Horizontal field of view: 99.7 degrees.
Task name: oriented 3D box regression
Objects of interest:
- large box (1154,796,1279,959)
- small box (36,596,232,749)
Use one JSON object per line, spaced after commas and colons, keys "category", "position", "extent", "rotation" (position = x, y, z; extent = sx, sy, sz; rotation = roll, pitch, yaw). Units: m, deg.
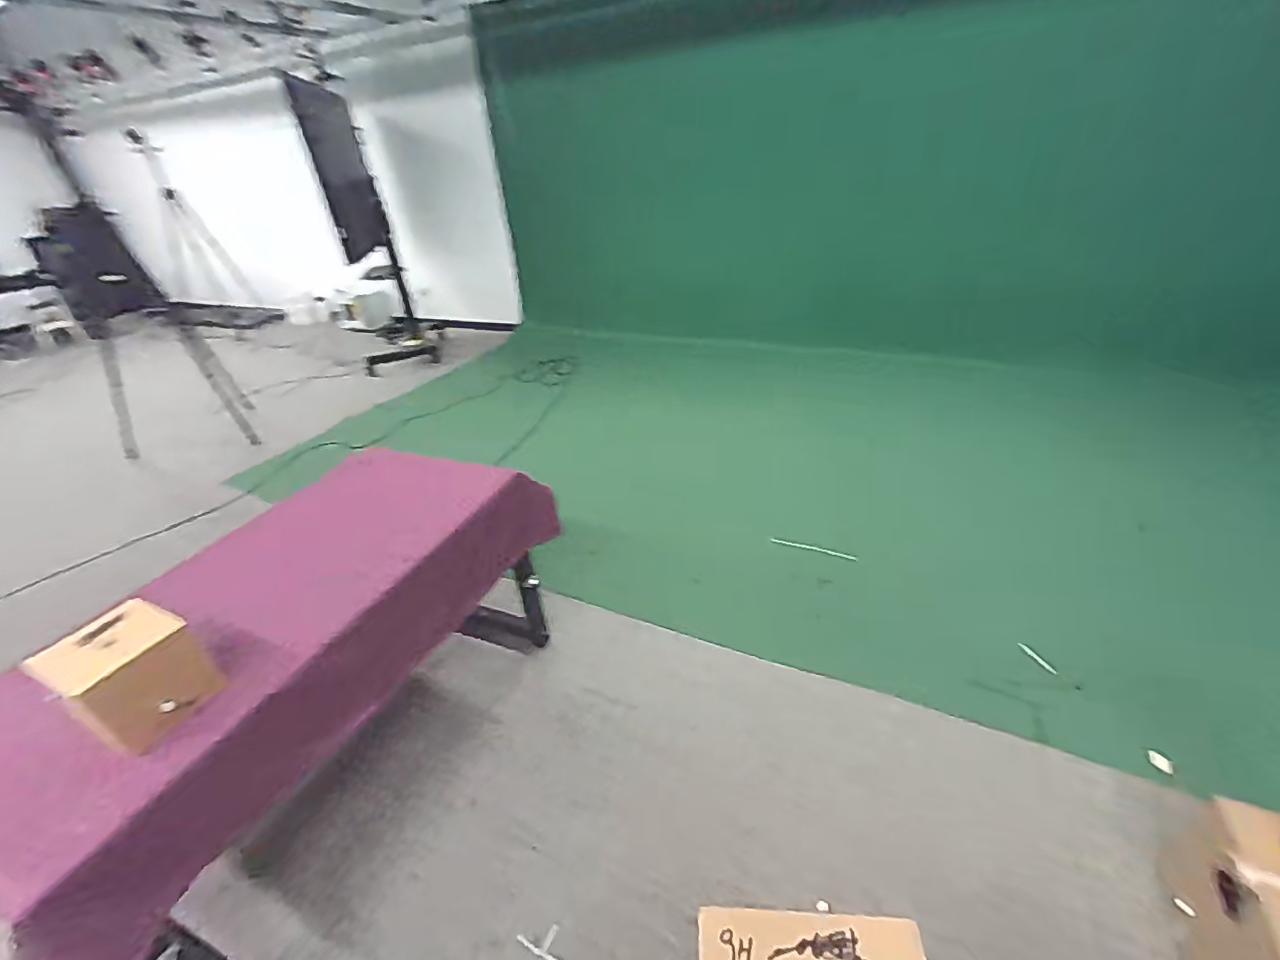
{"category": "large box", "position": [1.330, 0.893, 1.019], "extent": [0.408, 0.320, 0.320], "rotation": [11, 36, 22]}
{"category": "small box", "position": [-0.890, 0.342, 0.966], "extent": [0.179, 0.176, 0.168], "rotation": [11, 36, 23]}
